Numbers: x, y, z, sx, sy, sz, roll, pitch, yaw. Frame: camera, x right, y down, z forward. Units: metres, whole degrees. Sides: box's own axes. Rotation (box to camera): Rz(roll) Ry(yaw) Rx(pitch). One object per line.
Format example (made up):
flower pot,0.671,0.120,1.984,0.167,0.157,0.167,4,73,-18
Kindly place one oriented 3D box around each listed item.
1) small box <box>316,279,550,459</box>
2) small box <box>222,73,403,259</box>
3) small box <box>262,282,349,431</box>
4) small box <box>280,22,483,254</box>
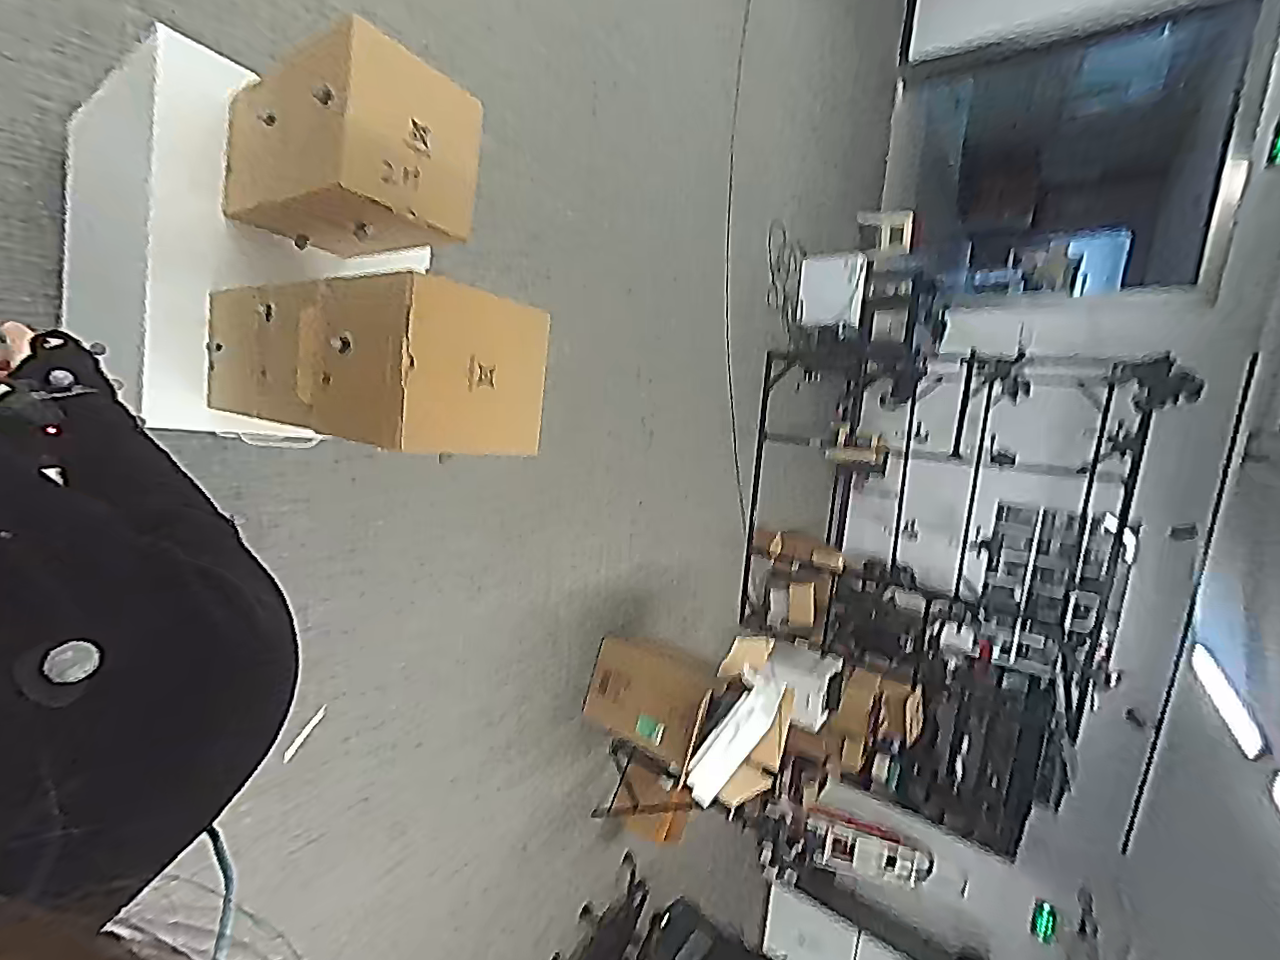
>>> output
small box,-0.228,-0.117,0.605,0.179,0.176,0.168,-2,101,-54
small box,-0.454,-0.428,0.772,0.179,0.176,0.168,2,97,-56
small box,-0.358,-0.144,0.698,0.179,0.176,0.168,-2,101,-55
small box,-0.323,-0.402,0.676,0.168,0.176,0.179,2,98,-54
